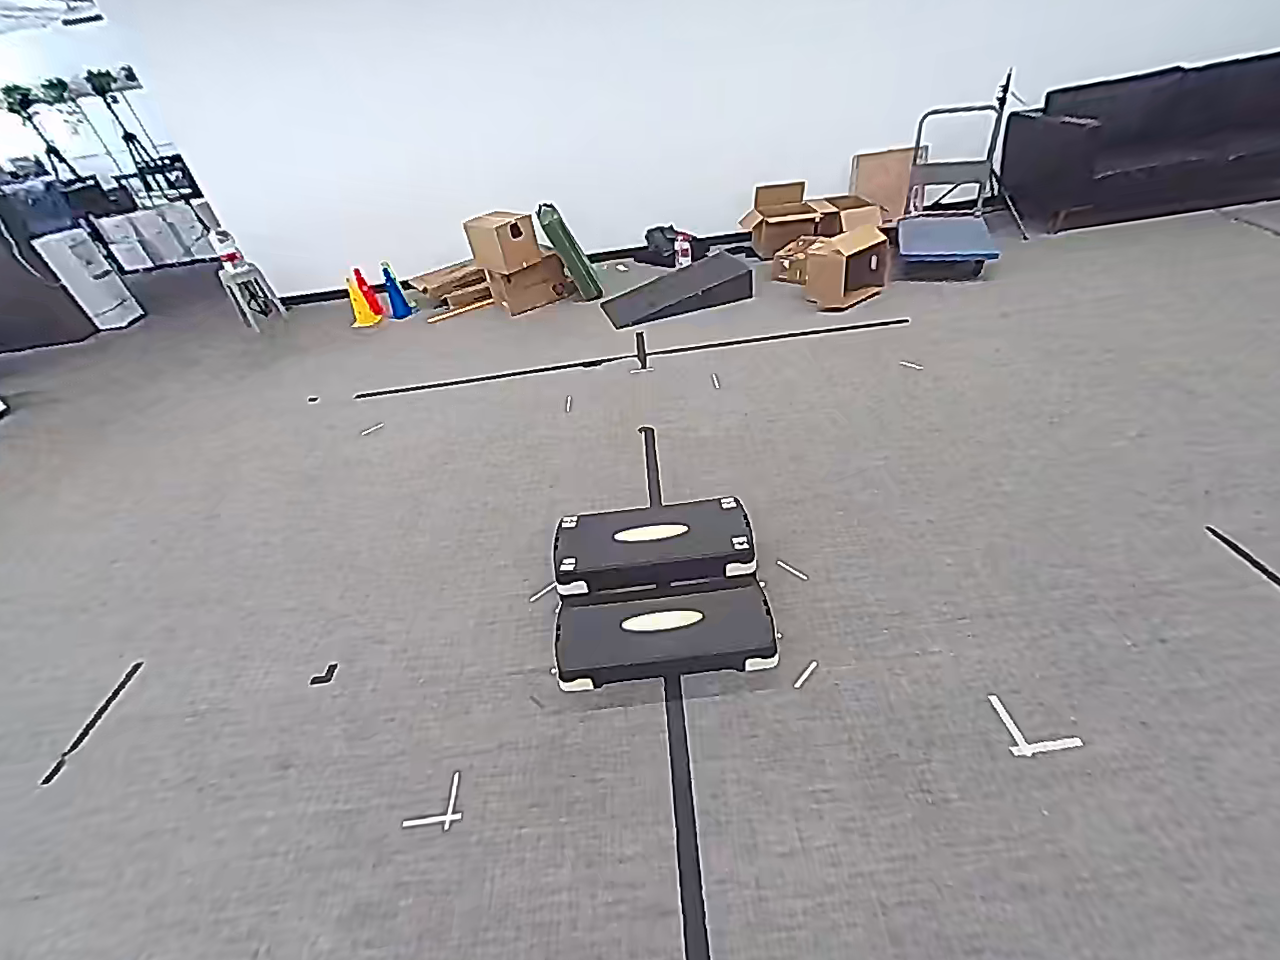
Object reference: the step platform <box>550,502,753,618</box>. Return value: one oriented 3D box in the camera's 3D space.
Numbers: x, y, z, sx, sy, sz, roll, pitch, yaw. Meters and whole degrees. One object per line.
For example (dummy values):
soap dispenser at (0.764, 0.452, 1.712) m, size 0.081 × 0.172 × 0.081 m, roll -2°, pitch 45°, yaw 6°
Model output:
step platform at (0.037, 0.266, 1.856) m, size 0.684 × 0.204 × 0.286 m, roll -7°, pitch 40°, yaw 1°
